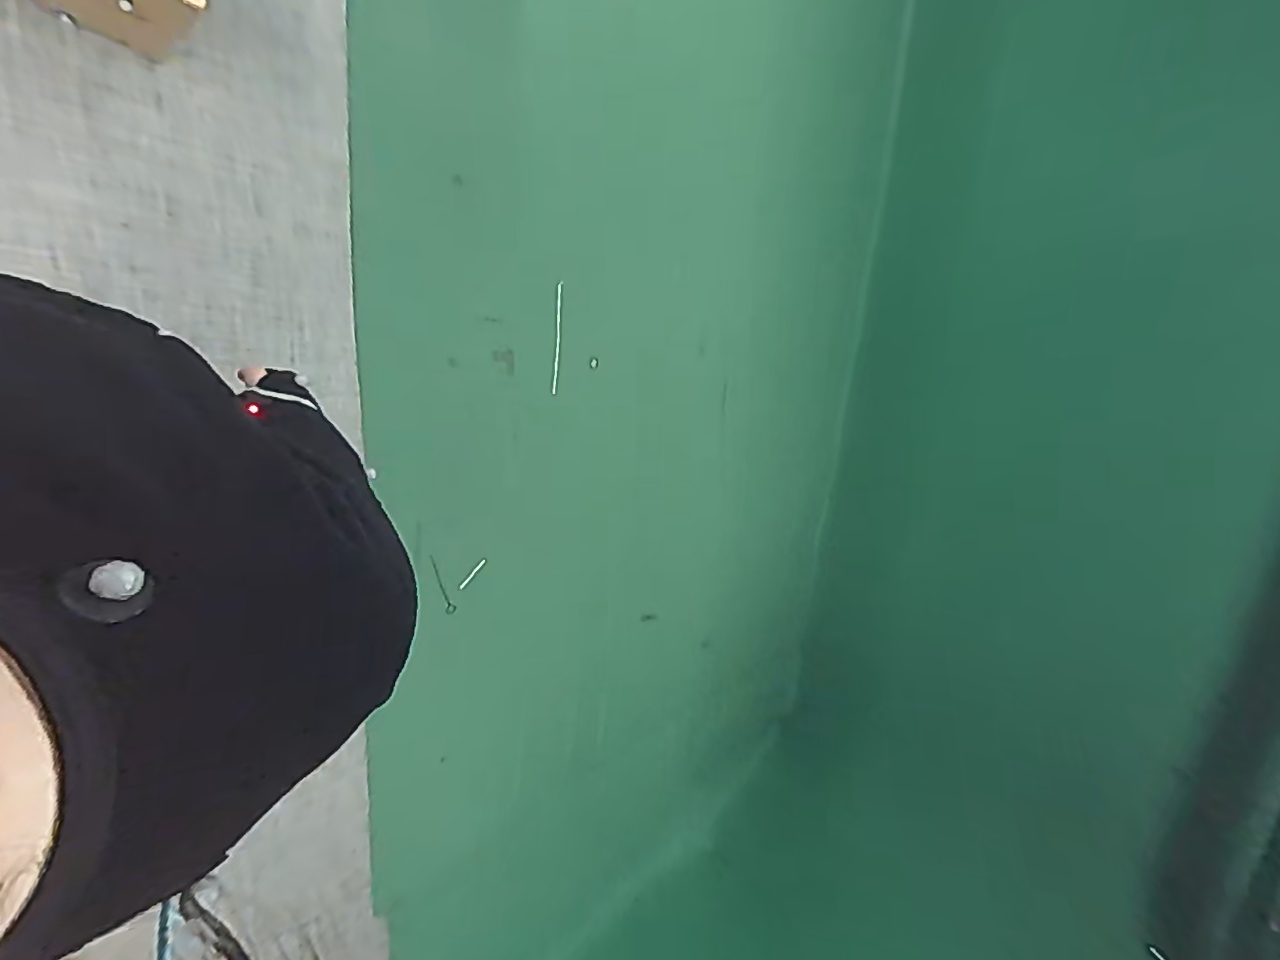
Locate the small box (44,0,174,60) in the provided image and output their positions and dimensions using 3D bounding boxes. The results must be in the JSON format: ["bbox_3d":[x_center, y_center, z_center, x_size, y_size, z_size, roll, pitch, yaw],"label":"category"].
[{"bbox_3d":[-0.906,-0.872,0.923,0.168,0.176,0.179,3,100,-48],"label":"small box"}]
